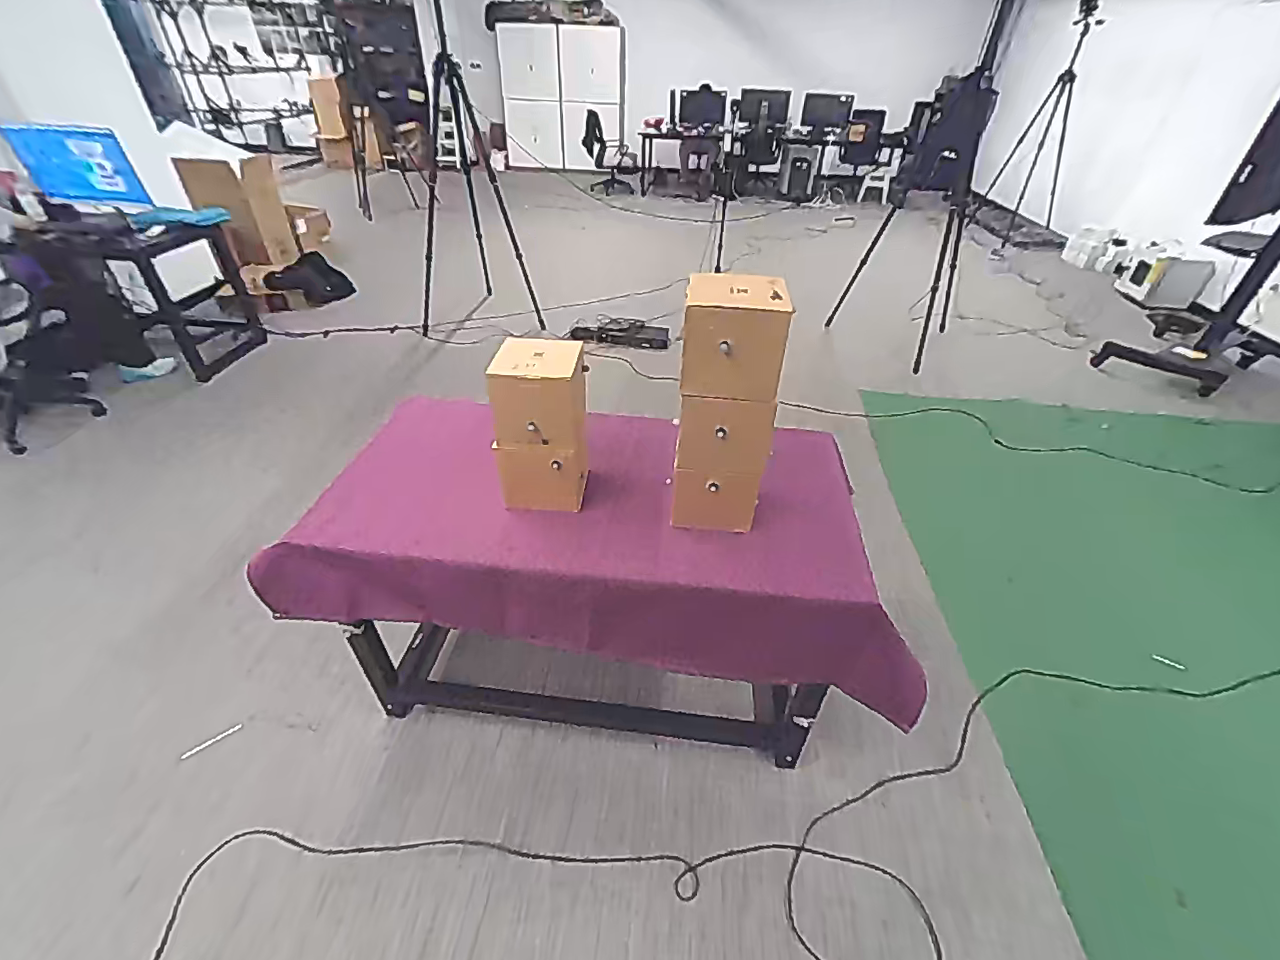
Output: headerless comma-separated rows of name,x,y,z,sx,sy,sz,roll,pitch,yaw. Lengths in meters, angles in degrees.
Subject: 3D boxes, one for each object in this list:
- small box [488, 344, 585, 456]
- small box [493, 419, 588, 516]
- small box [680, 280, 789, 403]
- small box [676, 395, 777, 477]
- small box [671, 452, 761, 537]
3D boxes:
small box,-0.207,-0.171,1.137,0.168,0.176,0.179,3,37,2
small box,-0.217,-0.034,1.229,0.179,0.176,0.168,3,37,1
small box,0.166,-0.252,0.984,0.179,0.176,0.168,4,39,6
small box,0.170,-0.121,1.084,0.179,0.176,0.168,5,38,6
small box,0.163,0.007,1.186,0.179,0.176,0.168,6,38,5
